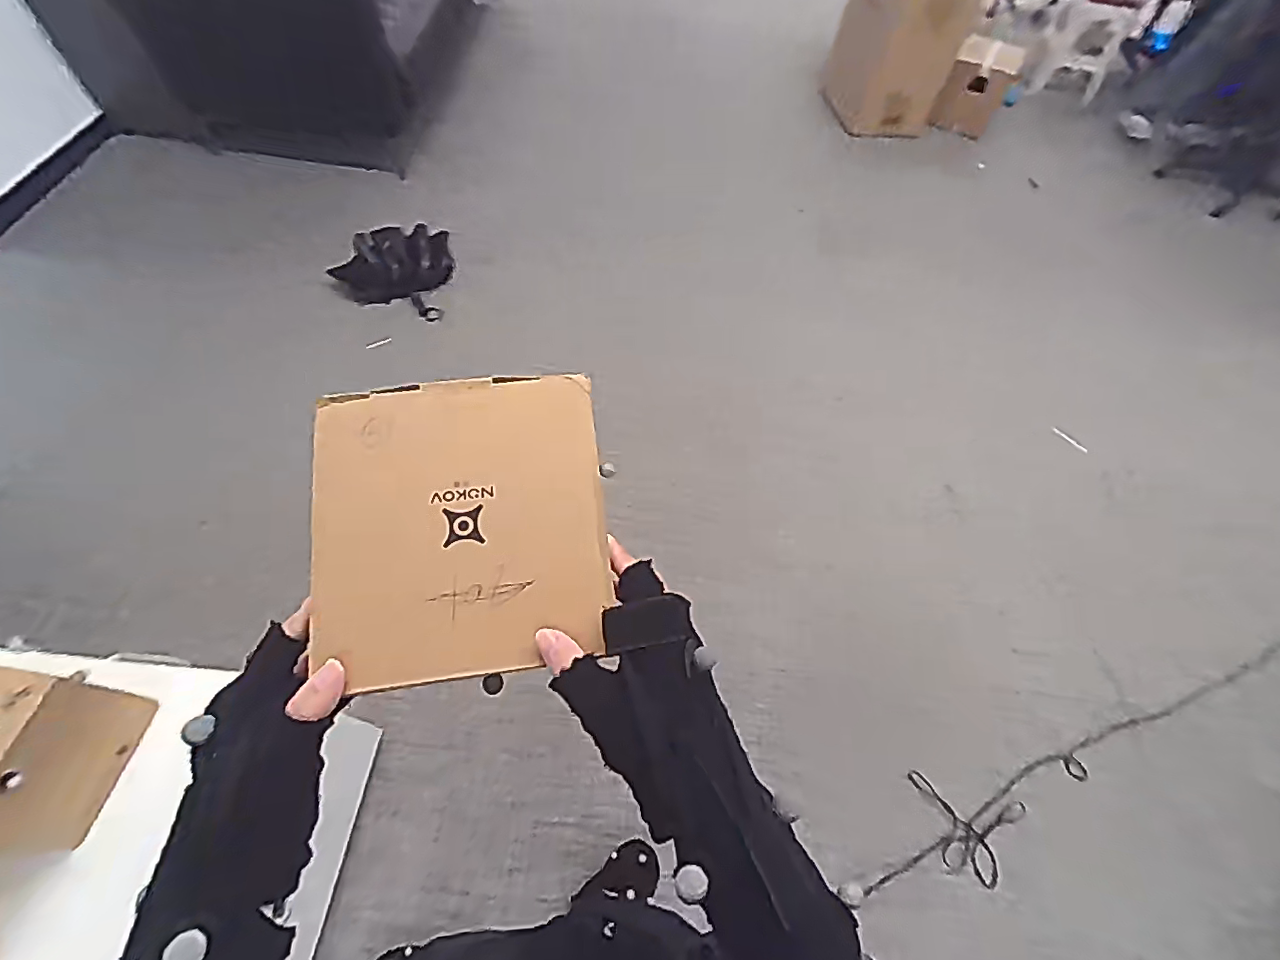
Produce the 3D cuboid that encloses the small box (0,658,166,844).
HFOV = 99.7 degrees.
[{"bbox_3d":[-0.716,0.303,0.612,0.179,0.176,0.168,9,59,1],"label":"small box"}]

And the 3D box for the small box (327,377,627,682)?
[{"bbox_3d":[-0.104,0.044,0.399,0.168,0.176,0.179,-6,75,-6],"label":"small box"}]
